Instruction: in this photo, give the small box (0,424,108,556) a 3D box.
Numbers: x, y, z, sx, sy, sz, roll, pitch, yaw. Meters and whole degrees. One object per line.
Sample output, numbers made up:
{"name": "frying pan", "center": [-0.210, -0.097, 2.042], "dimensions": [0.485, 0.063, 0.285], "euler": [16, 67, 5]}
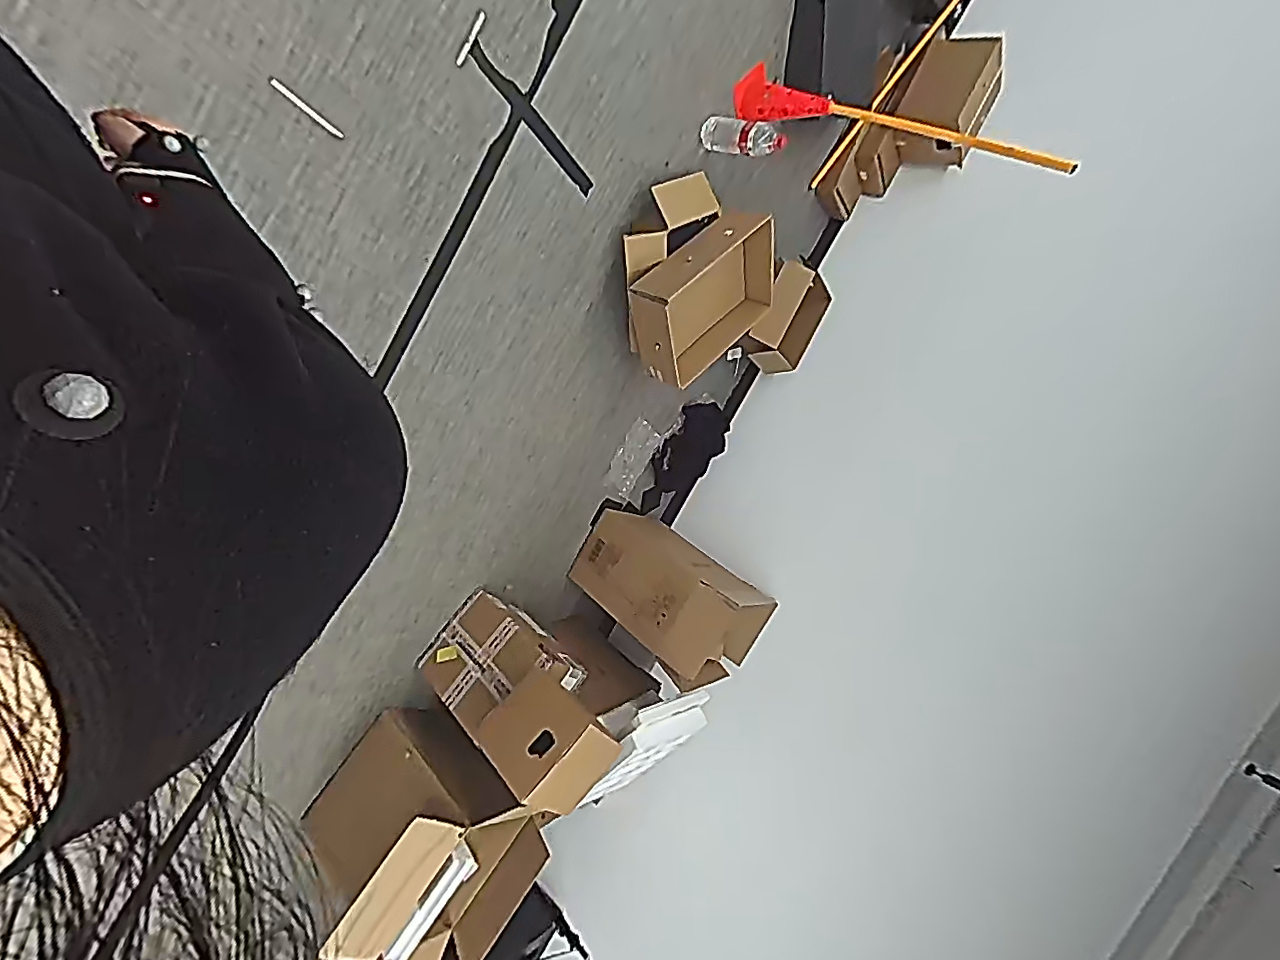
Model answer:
{"name": "small box", "center": [-1.187, 0.008, 1.042], "dimensions": [0.168, 0.176, 0.179], "euler": [-27, 138, -39]}
